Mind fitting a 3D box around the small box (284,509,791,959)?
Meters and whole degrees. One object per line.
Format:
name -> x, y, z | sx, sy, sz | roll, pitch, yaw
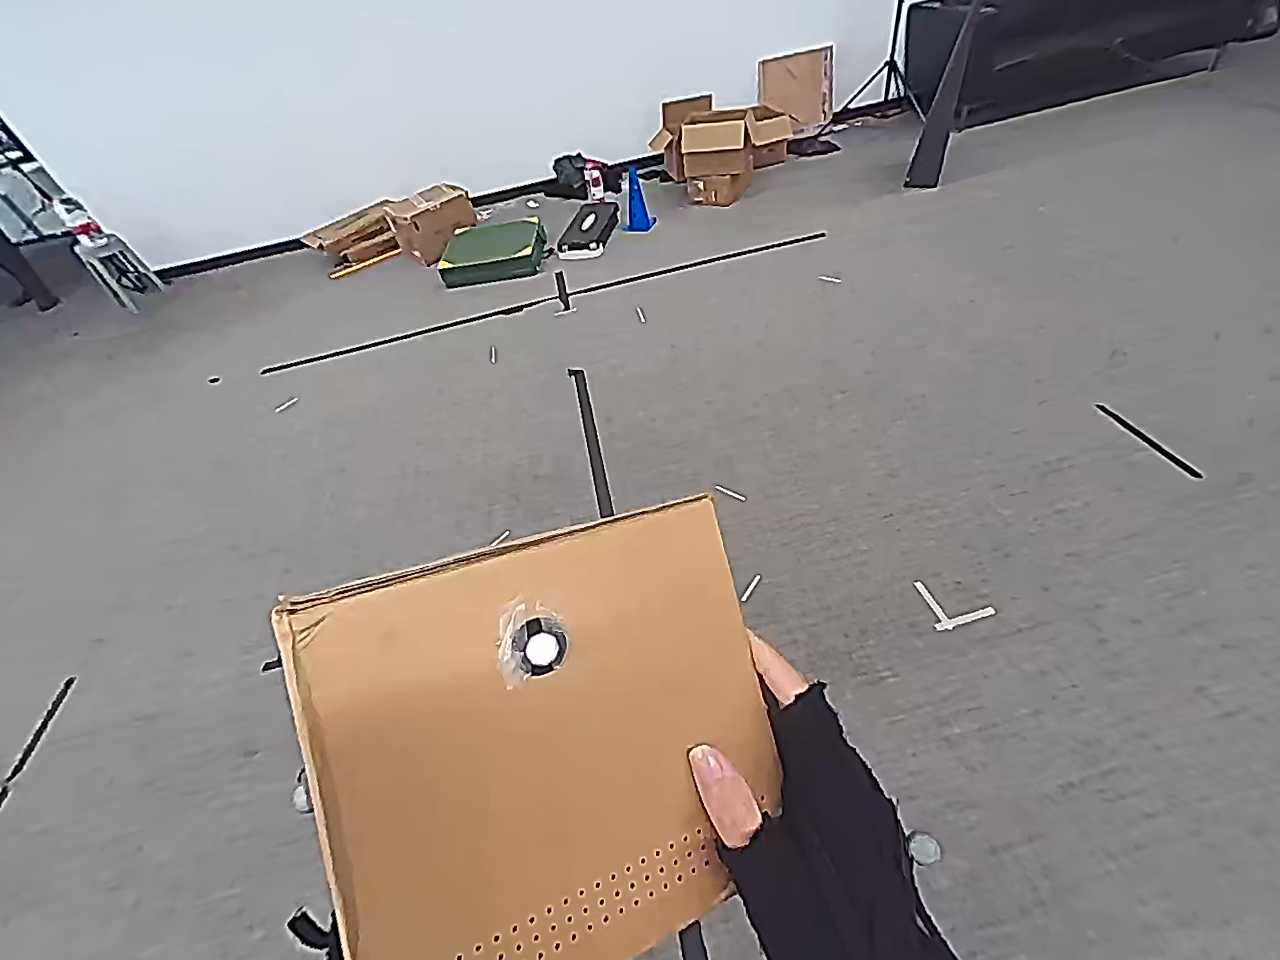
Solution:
small box -> -0.051, 0.123, 0.284 | 0.179, 0.168, 0.176 | -13, 87, -22
